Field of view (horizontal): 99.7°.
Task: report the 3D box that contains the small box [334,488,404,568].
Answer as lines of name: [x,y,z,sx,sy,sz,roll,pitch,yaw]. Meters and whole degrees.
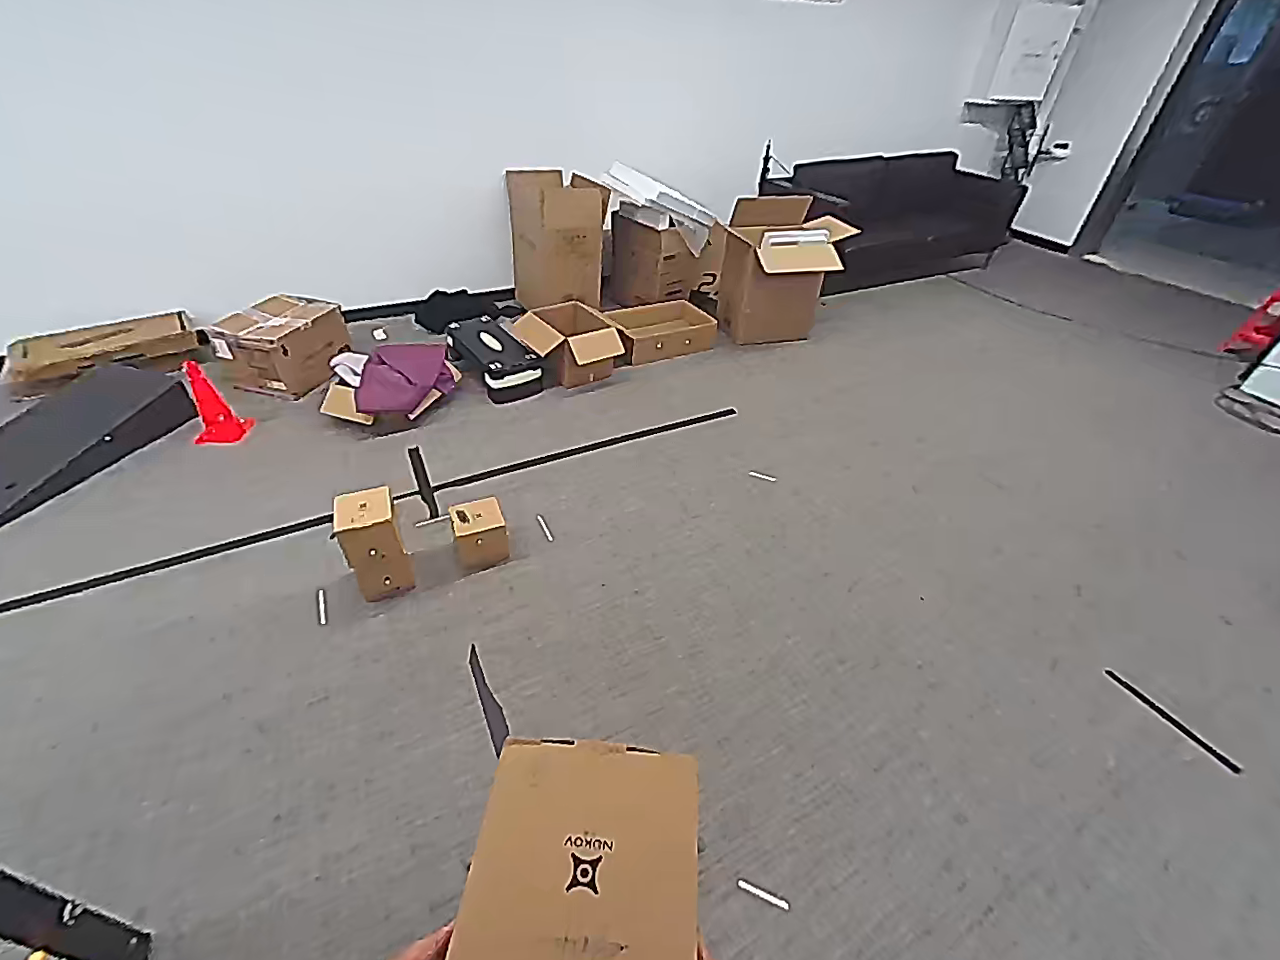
small box: [-0.881,0.155,1.763,0.168,0.176,0.179,-14,43,-19]

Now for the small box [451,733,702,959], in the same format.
small box: [-0.041,0.340,0.445,0.168,0.176,0.179,5,41,2]

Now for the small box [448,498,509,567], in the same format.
small box: [-0.594,0.196,1.997,0.179,0.176,0.168,-14,43,-21]

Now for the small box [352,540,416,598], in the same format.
small box: [-0.889,0.285,1.866,0.168,0.176,0.179,-18,45,-23]
